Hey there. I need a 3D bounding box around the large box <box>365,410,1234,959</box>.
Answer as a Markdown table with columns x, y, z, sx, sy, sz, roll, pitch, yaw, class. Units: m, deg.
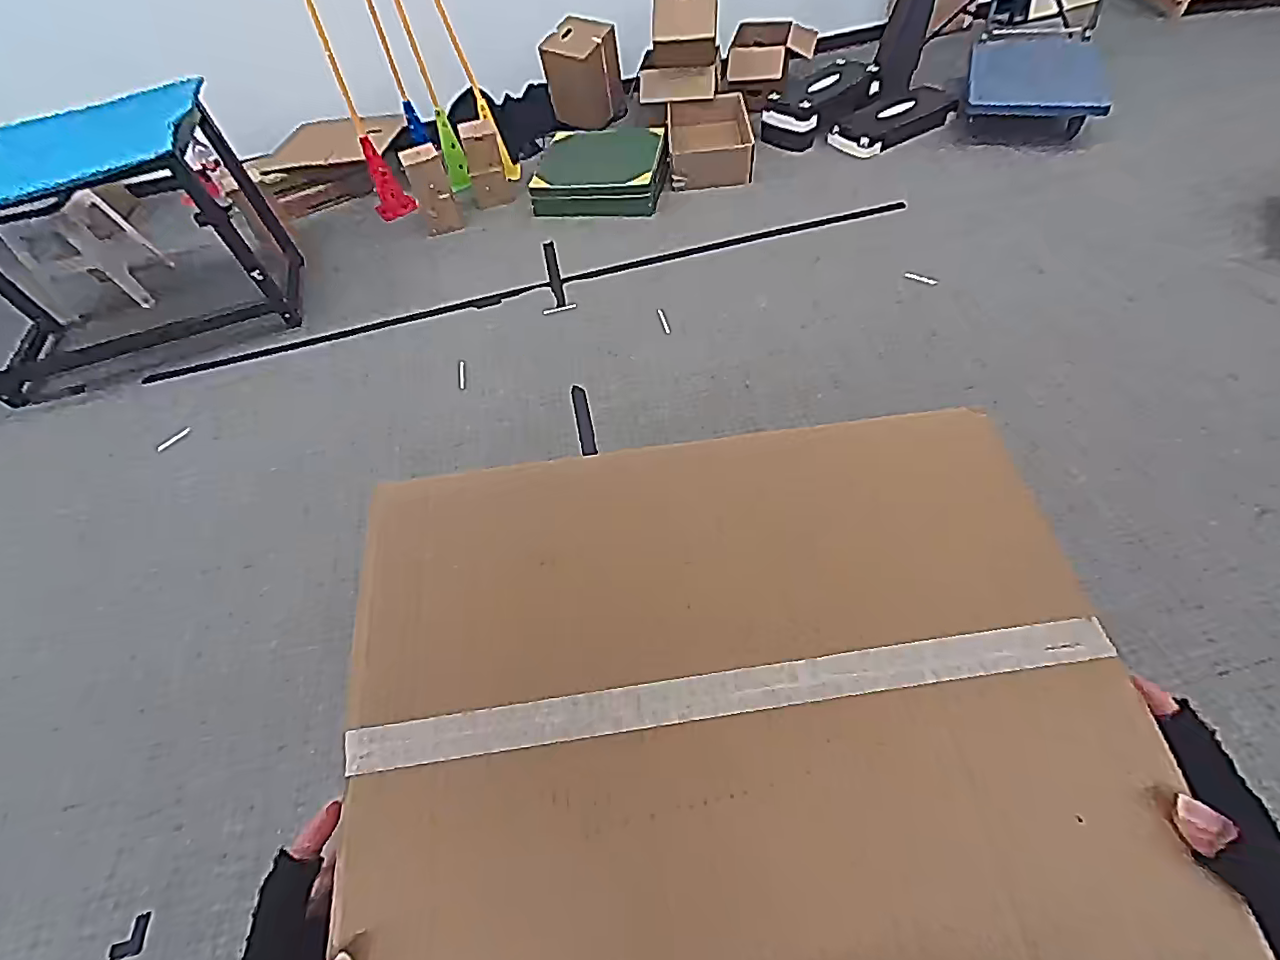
| x | y | z | sx | sy | sz | roll | pitch | yaw | class |
| --- | --- | --- | --- | --- | --- | --- | --- | --- | --- |
| 0.056 | 0.182 | 0.435 | 0.408 | 0.320 | 0.320 | -8 | 64 | -2 | large box |
